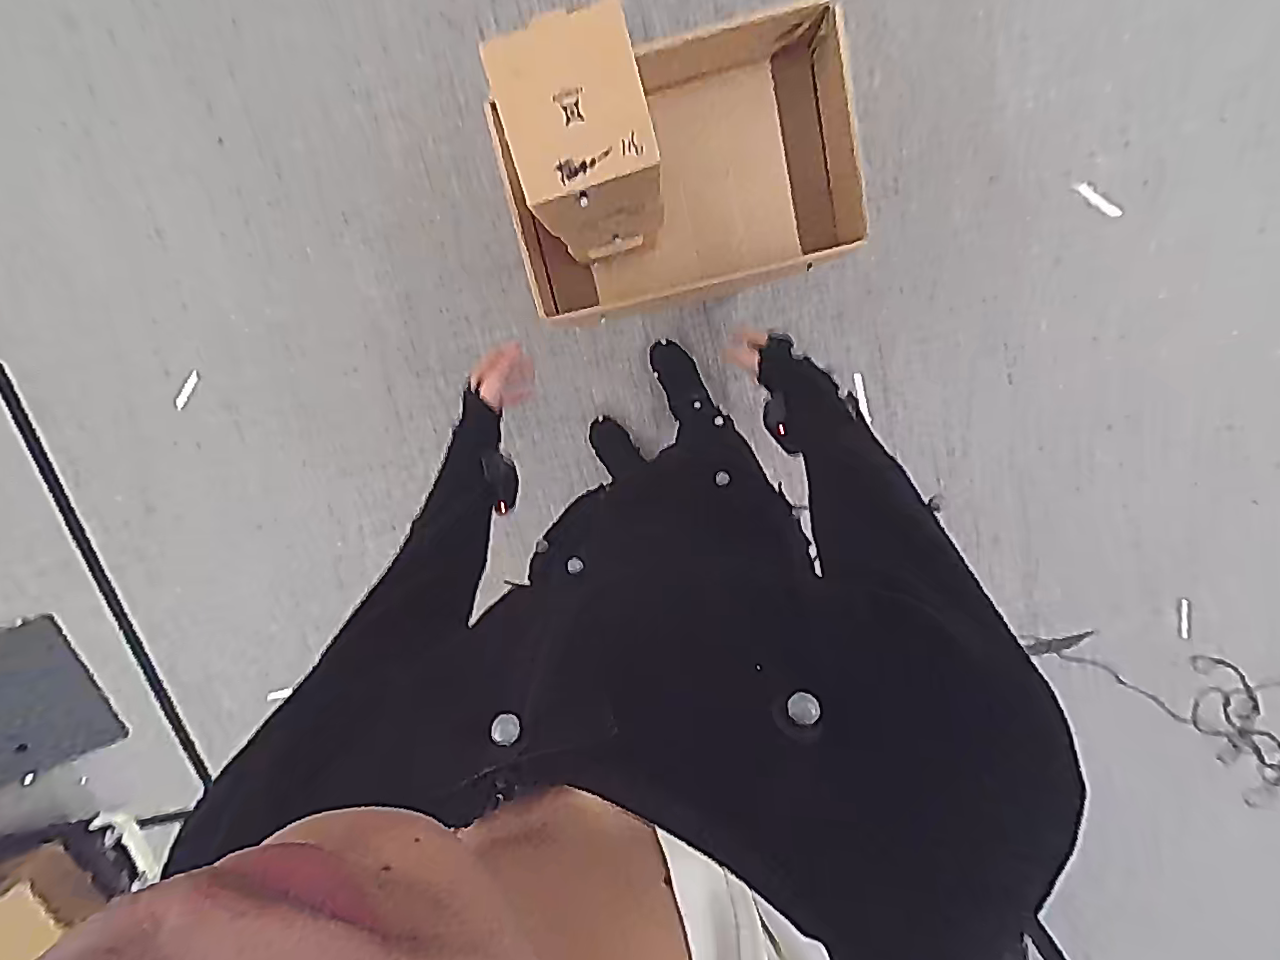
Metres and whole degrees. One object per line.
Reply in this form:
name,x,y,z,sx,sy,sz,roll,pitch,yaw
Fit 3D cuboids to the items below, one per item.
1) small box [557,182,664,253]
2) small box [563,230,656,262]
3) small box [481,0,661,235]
small box,-0.064,-0.478,0.845,0.168,0.176,0.179,-15,103,6
small box,-0.067,-0.518,1.004,0.168,0.176,0.179,-14,102,5
small box,-0.075,-0.439,0.685,0.168,0.176,0.179,-15,101,6
